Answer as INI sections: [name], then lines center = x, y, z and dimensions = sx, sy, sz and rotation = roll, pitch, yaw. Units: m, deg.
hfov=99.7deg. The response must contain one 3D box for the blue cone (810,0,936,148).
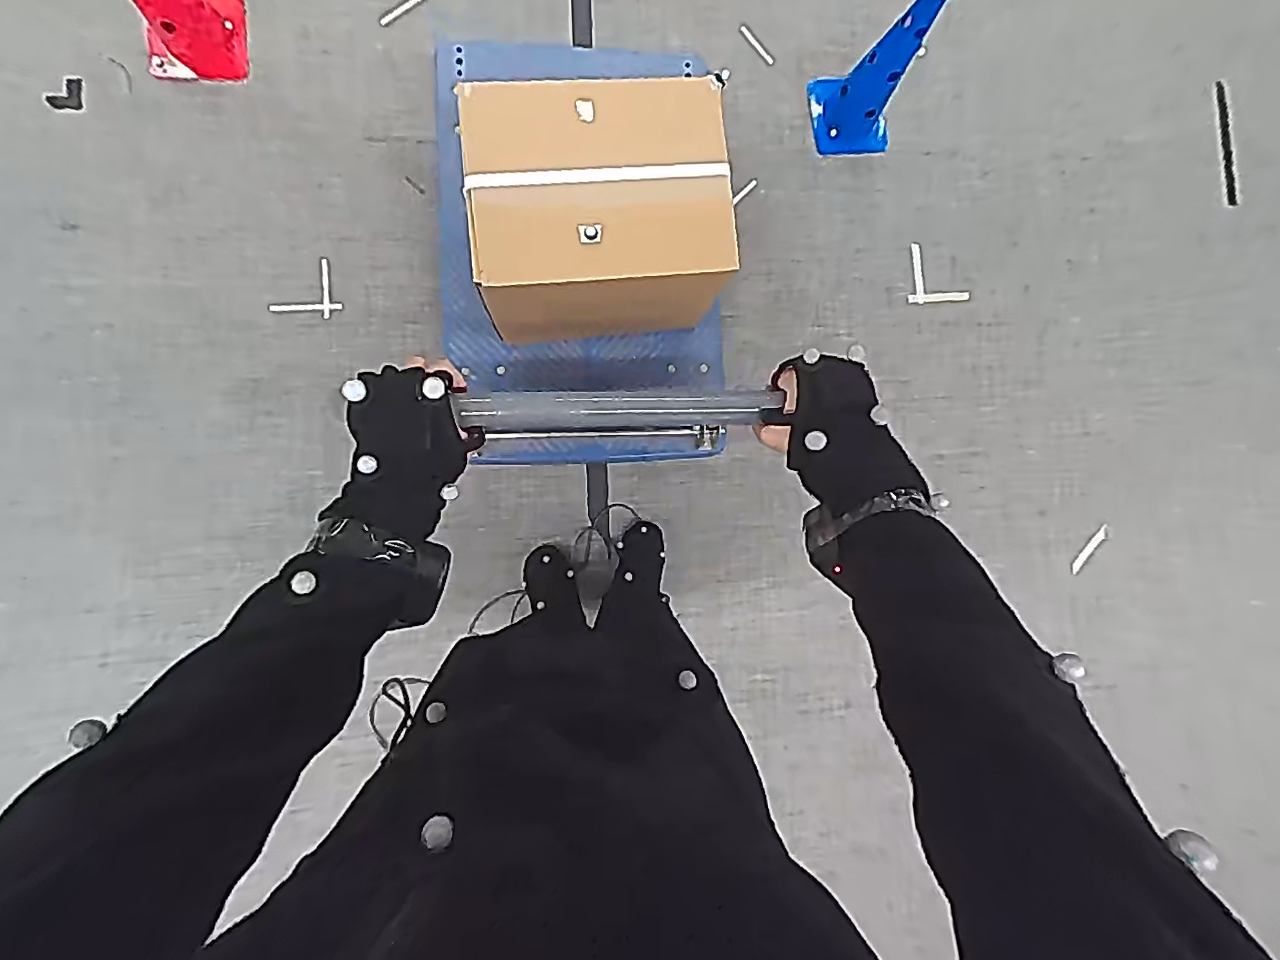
[blue cone]
center = 0.561, -0.960, 1.237
dimensions = 0.193, 0.380, 0.192
rotation = -7, 88, -8
